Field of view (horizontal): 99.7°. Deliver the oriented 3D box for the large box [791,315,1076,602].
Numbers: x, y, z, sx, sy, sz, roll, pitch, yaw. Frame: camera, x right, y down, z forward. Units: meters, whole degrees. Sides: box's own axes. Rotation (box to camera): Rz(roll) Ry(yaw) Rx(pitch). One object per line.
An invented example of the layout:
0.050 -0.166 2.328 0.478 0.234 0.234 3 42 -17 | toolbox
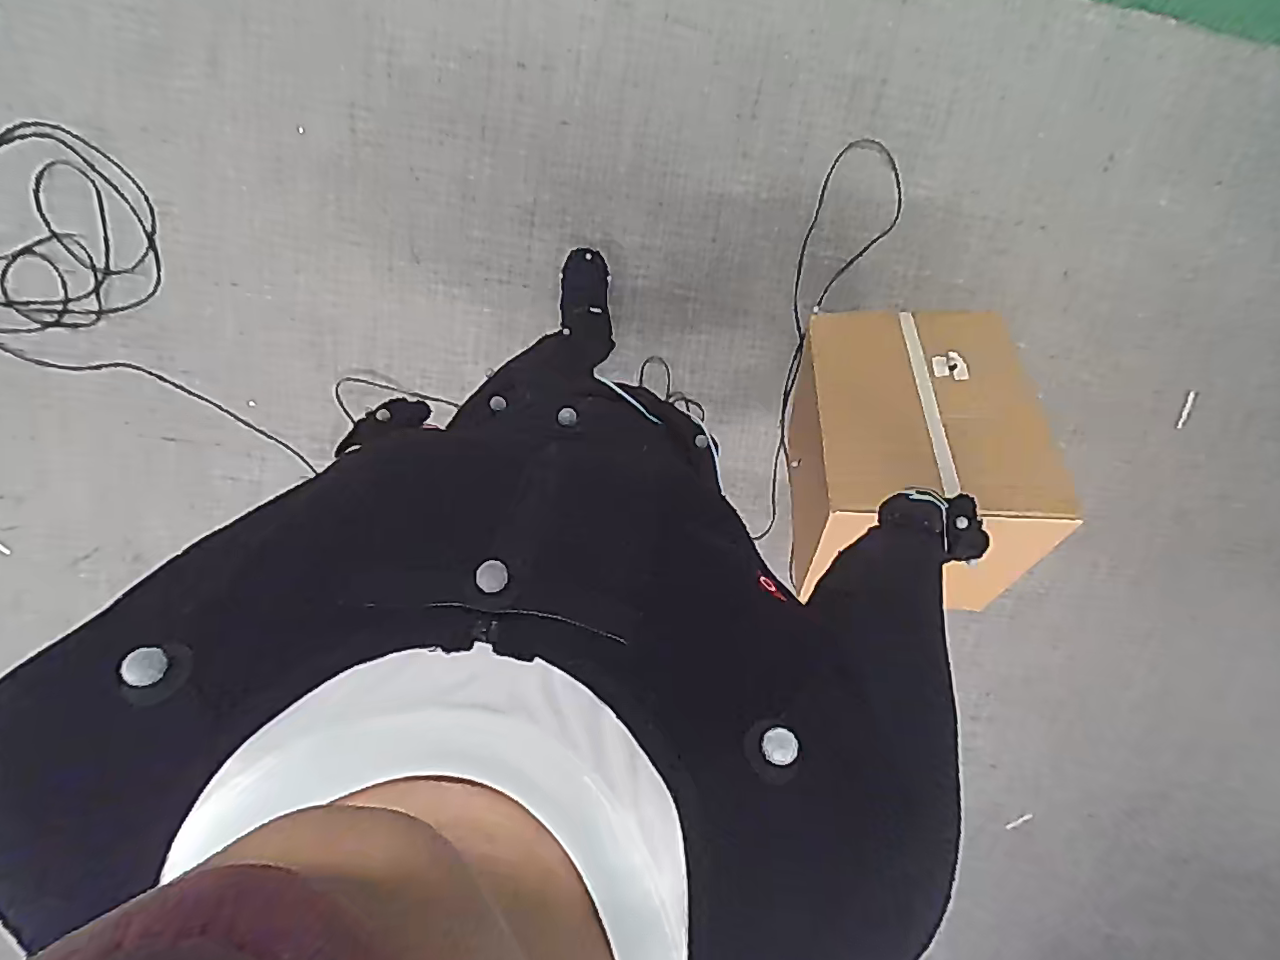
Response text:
0.447 -0.034 0.947 0.320 0.408 0.320 2 145 8 | large box
